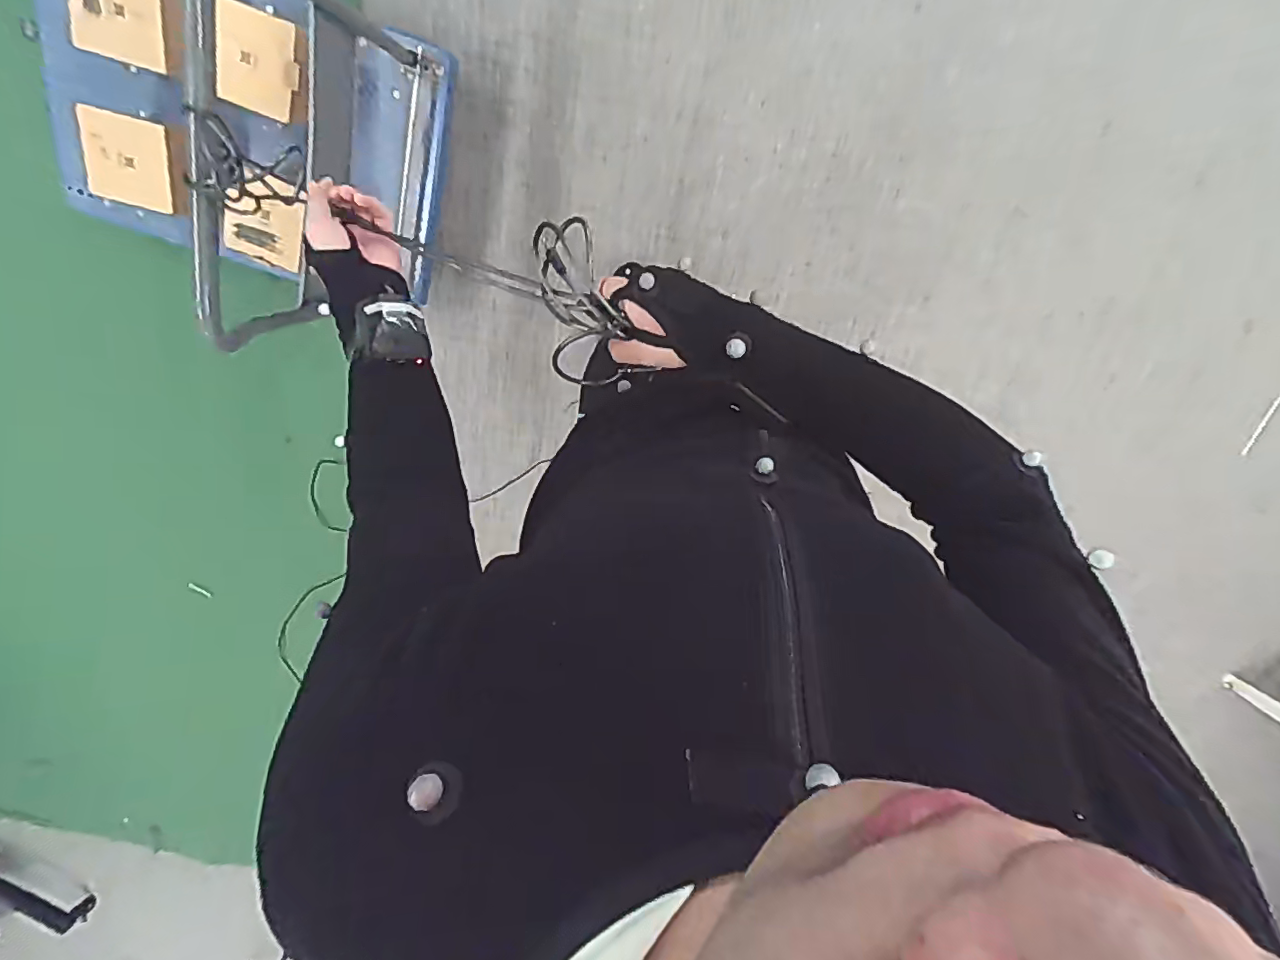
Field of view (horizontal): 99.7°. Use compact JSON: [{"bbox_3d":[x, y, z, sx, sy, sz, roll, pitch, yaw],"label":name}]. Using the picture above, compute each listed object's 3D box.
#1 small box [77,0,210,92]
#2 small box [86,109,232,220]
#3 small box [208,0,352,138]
[{"bbox_3d":[-0.954,-0.898,1.076,0.179,0.176,0.168,16,115,-4],"label":"small box"},{"bbox_3d":[-1.031,-0.679,1.182,0.179,0.176,0.168,15,114,-2],"label":"small box"},{"bbox_3d":[-0.723,-0.820,1.095,0.179,0.176,0.168,19,114,-5],"label":"small box"}]
